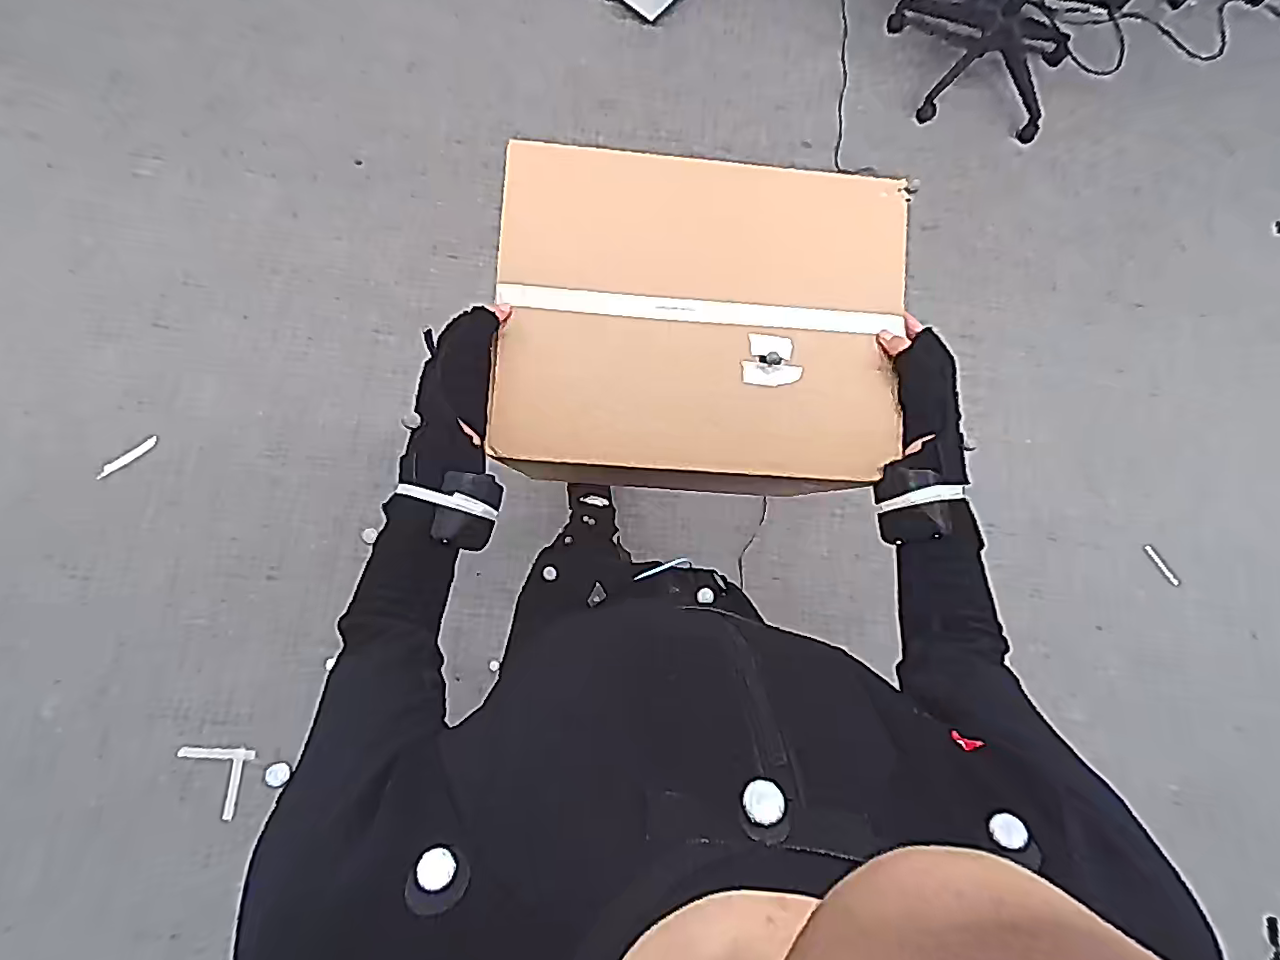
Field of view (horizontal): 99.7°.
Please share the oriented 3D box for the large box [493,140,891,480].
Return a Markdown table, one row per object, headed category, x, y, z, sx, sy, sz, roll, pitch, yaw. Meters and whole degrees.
| category | x | y | z | sx | sy | sz | roll | pitch | yaw |
| --- | --- | --- | --- | --- | --- | --- | --- | --- | --- |
| large box | 0.046 | -0.170 | 0.695 | 0.408 | 0.320 | 0.320 | 4 | 87 | -5 |
